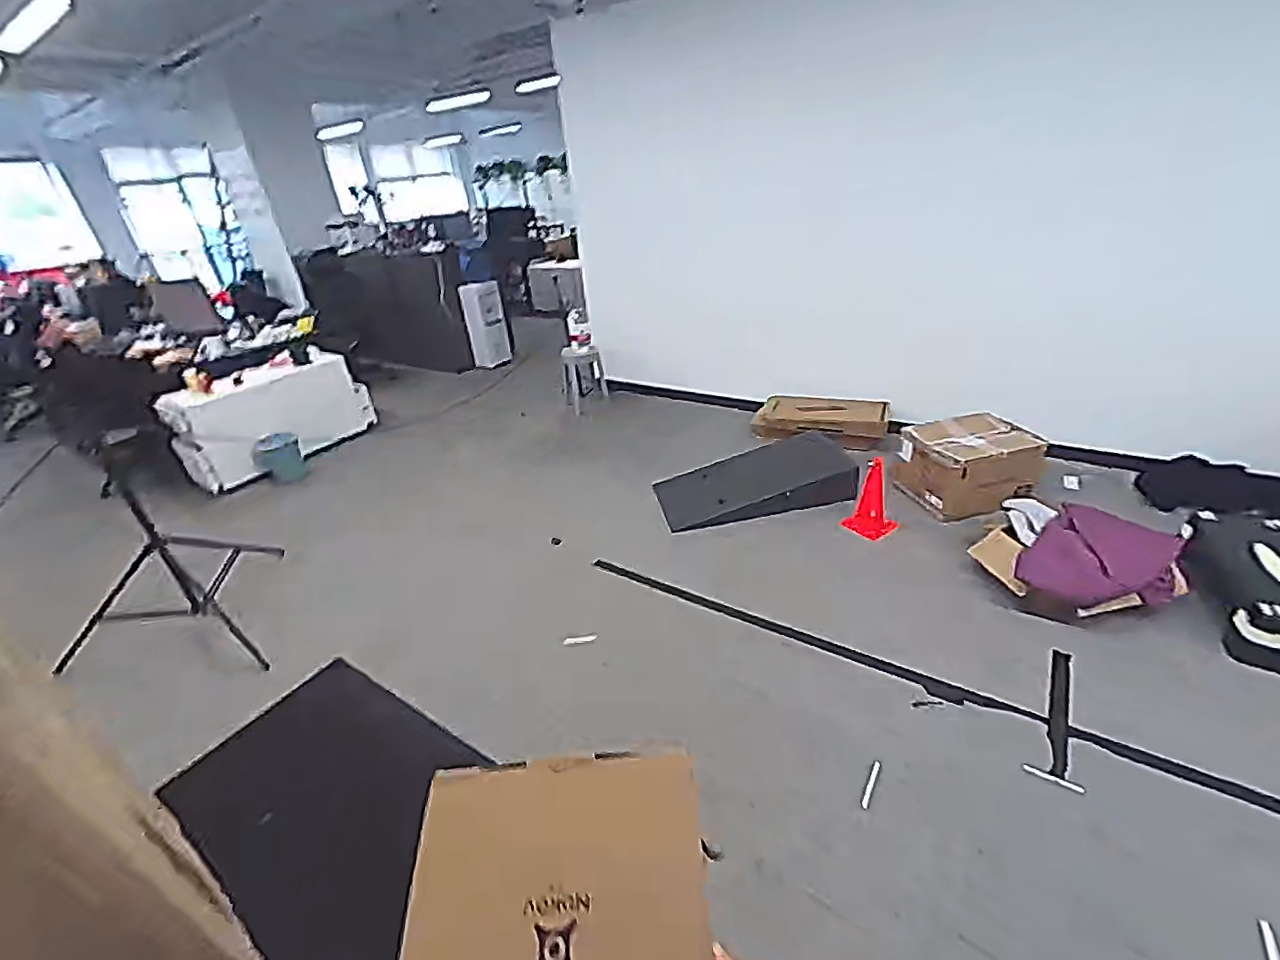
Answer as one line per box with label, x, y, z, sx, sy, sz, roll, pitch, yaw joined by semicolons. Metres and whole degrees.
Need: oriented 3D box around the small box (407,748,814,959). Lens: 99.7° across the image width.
small box;-0.006;0.254;0.265;0.168;0.176;0.179;-7;49;2
